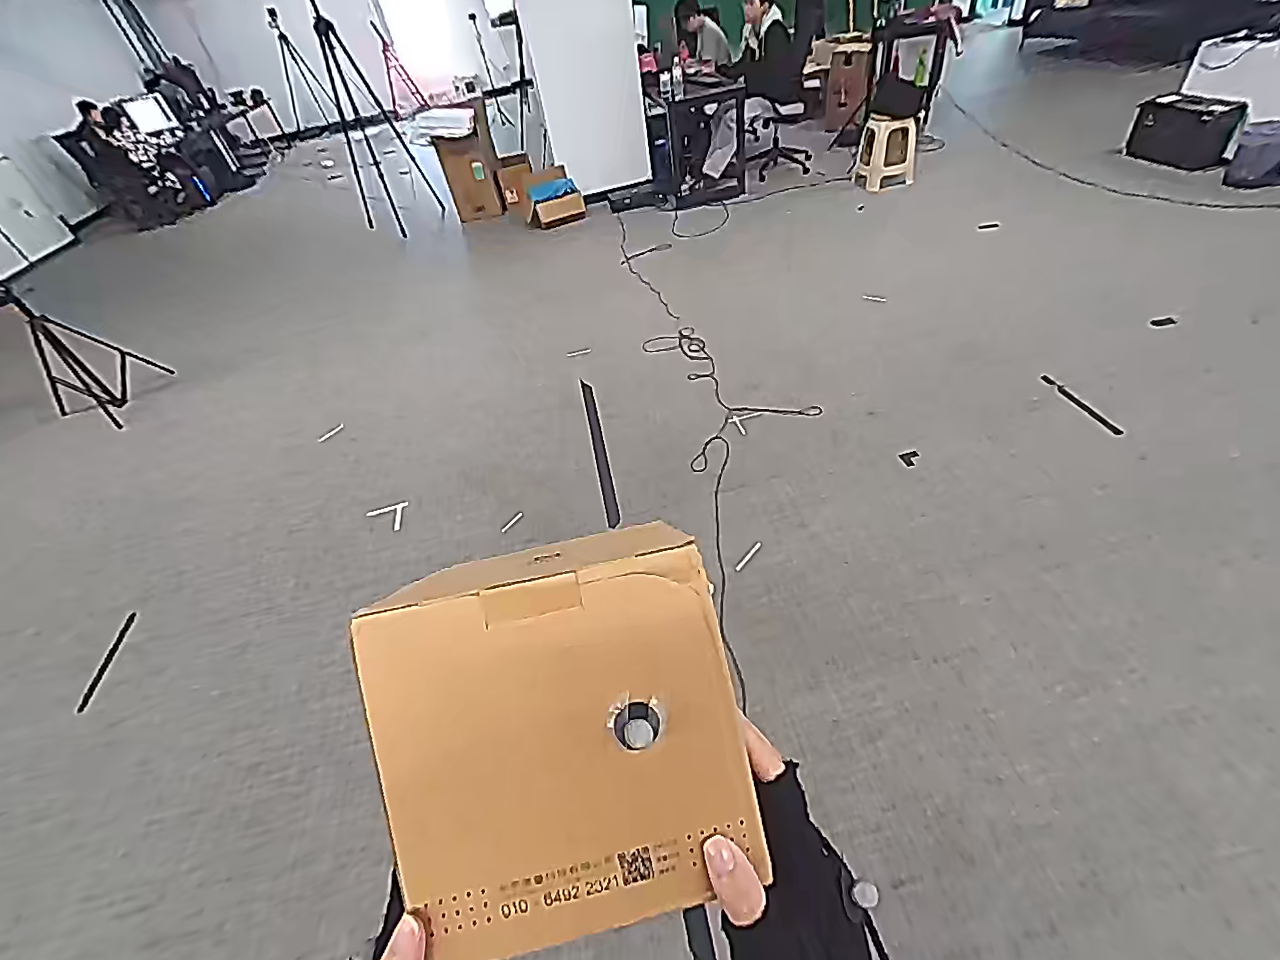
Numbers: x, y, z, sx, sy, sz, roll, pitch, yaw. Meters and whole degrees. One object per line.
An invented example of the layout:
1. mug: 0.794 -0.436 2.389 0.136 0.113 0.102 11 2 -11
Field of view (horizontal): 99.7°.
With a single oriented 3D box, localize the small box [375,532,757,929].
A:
1. small box: -0.036 0.139 0.347 0.168 0.176 0.179 -12 -1 -3
